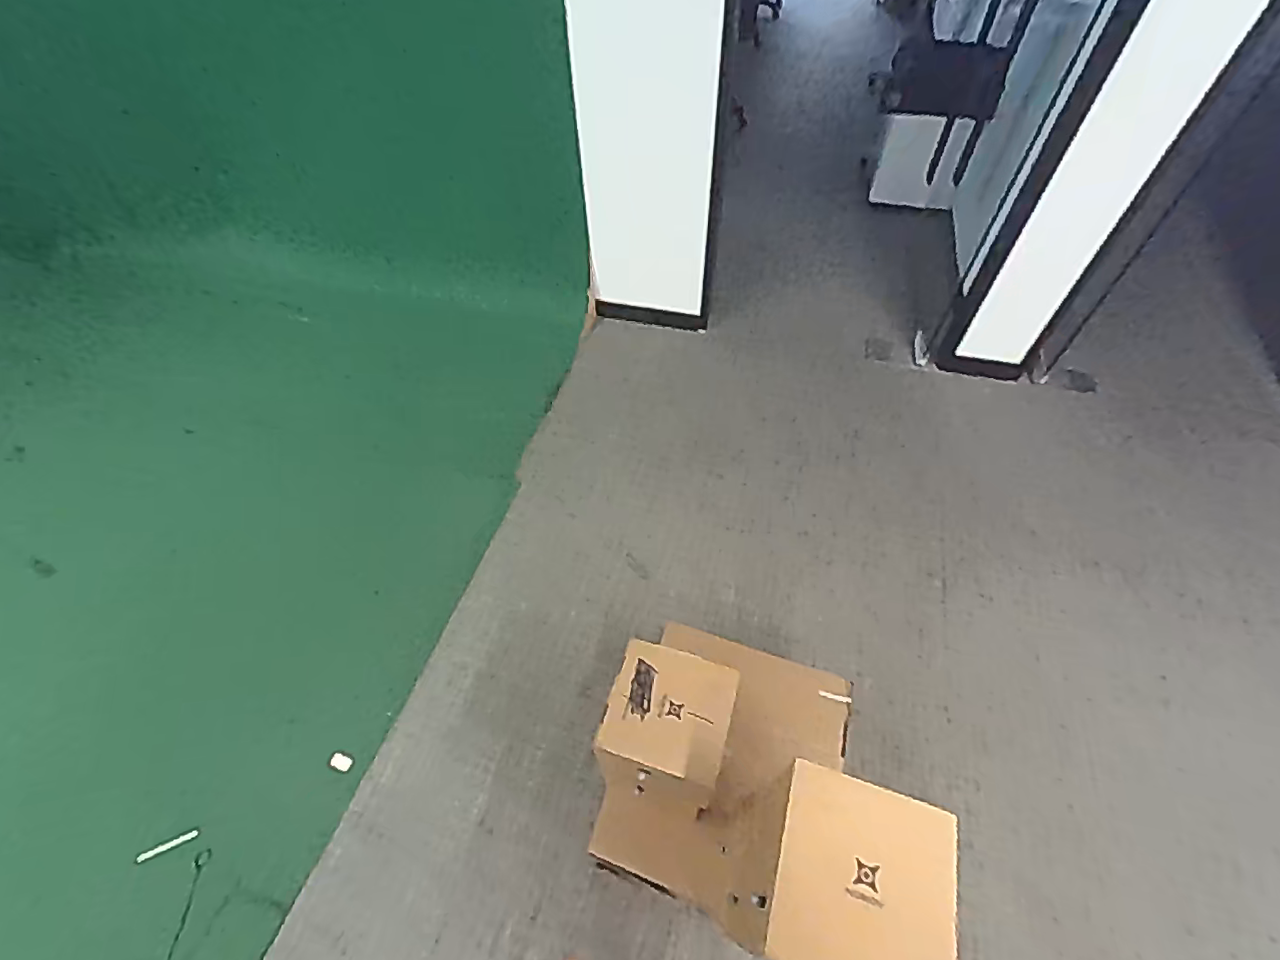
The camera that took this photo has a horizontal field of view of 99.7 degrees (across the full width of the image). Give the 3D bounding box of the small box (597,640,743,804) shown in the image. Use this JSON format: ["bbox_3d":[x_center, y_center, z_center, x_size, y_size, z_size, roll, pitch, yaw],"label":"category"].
[{"bbox_3d":[0.050,0.376,0.833,0.179,0.176,0.168,12,53,13],"label":"small box"}]

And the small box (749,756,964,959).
[{"bbox_3d":[0.222,0.430,0.580,0.168,0.176,0.179,15,54,12],"label":"small box"}]

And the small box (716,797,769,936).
[{"bbox_3d":[0.225,0.624,0.844,0.179,0.176,0.168,13,52,11],"label":"small box"}]

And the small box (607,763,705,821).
[{"bbox_3d":[0.049,0.476,0.966,0.168,0.176,0.179,14,52,13],"label":"small box"}]
